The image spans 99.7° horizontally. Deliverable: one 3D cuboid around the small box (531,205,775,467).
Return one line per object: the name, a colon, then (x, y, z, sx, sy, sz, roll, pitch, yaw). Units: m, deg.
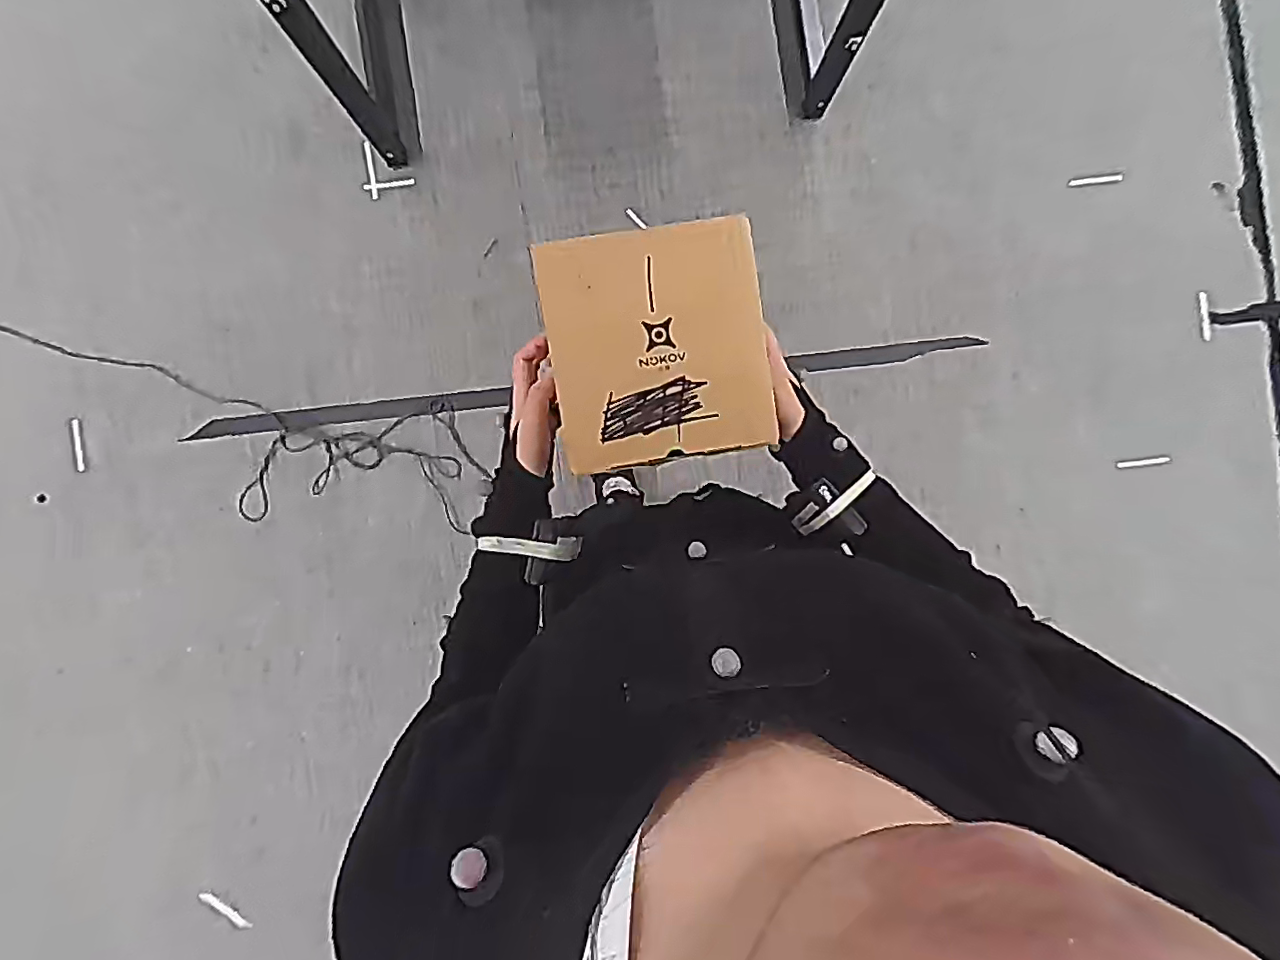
small box: (0.008, -0.114, 0.484, 0.168, 0.176, 0.179, -9, 95, -3)
